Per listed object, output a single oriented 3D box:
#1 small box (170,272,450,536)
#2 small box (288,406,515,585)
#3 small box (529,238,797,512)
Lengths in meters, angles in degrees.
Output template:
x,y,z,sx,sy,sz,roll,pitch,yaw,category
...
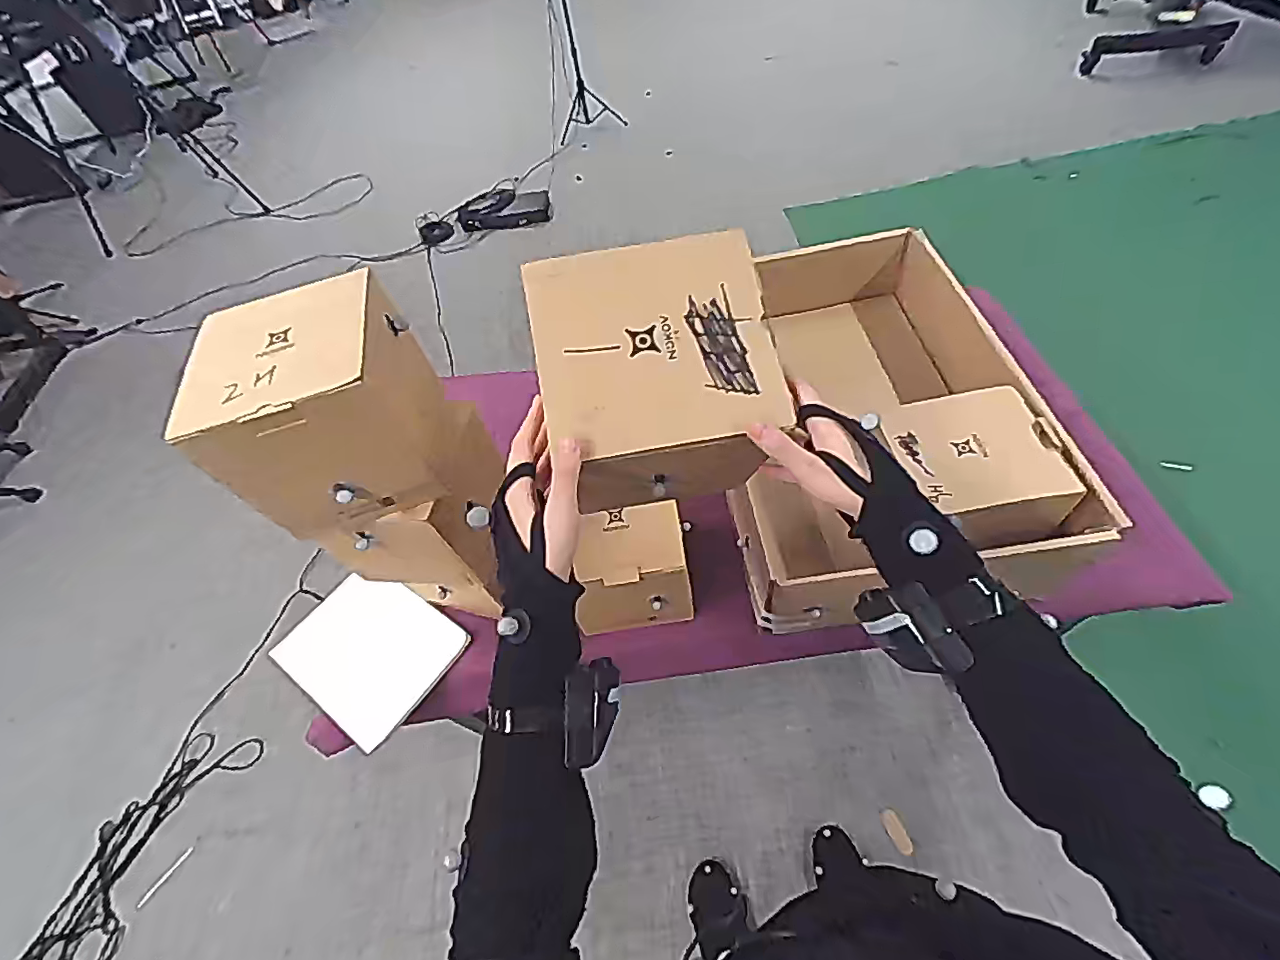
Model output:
x,y,z,sx,sy,sz,roll,pitch,yaw,category
-0.307,-0.072,0.549,0.168,0.176,0.179,-18,54,-1,small box
-0.277,0.023,0.680,0.179,0.176,0.168,1,55,11,small box
0.010,-0.077,0.470,0.179,0.176,0.168,-9,75,-5,small box
